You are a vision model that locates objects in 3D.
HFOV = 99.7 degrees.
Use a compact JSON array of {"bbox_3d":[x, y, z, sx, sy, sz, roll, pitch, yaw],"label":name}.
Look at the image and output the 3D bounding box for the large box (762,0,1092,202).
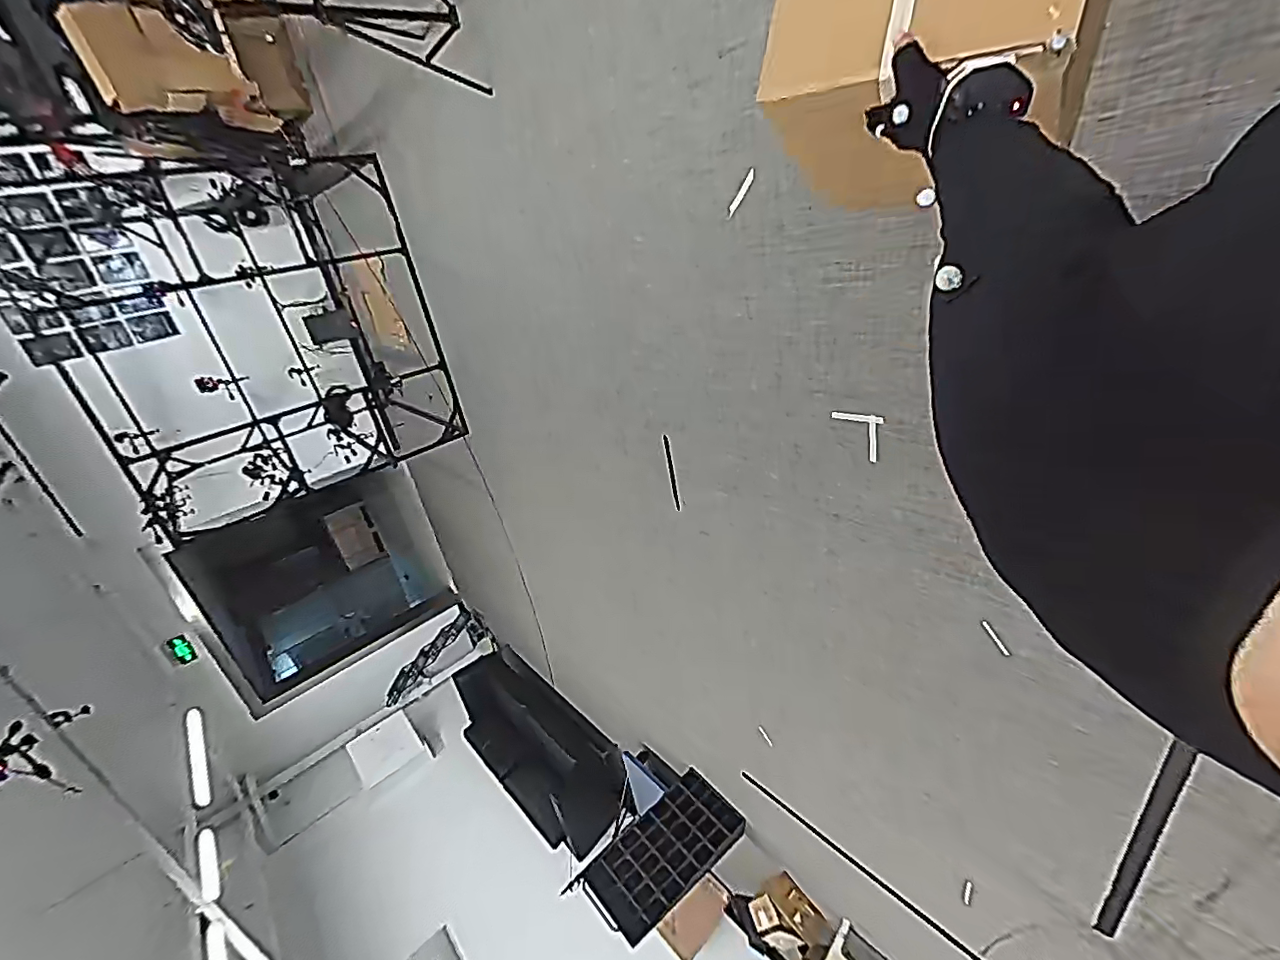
[{"bbox_3d":[0.385,-0.626,0.678,0.320,0.320,0.408,14,100,35],"label":"large box"}]
